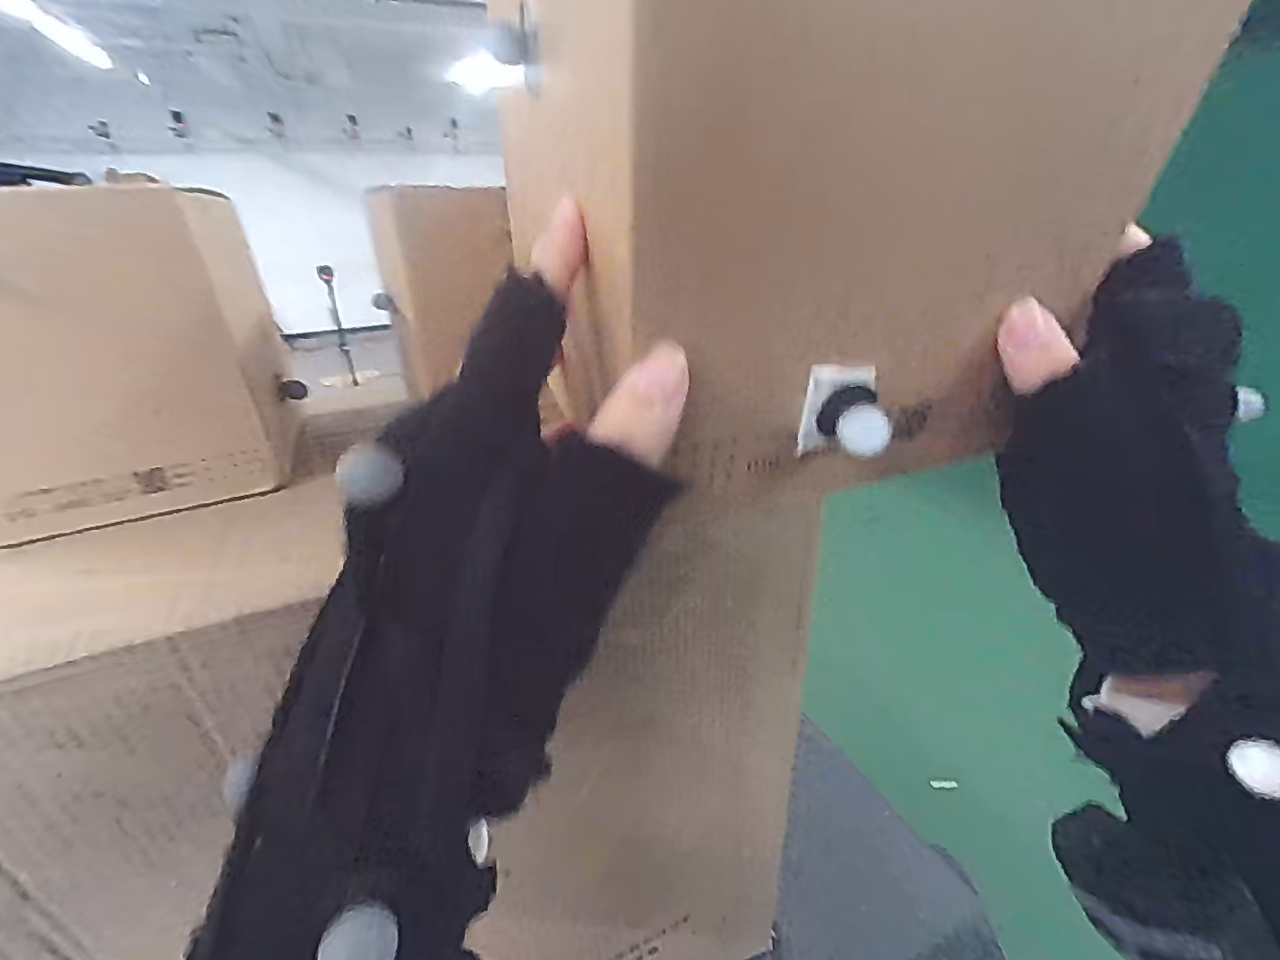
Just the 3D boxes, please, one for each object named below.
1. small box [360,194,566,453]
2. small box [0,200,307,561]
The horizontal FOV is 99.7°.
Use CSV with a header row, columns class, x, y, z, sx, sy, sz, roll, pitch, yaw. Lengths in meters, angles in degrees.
class,x,y,z,sx,sy,sz,roll,pitch,yaw
small box,-0.108,-0.132,0.434,0.168,0.176,0.179,-16,30,-25
small box,-0.332,-0.073,0.341,0.168,0.176,0.179,-16,29,-20
